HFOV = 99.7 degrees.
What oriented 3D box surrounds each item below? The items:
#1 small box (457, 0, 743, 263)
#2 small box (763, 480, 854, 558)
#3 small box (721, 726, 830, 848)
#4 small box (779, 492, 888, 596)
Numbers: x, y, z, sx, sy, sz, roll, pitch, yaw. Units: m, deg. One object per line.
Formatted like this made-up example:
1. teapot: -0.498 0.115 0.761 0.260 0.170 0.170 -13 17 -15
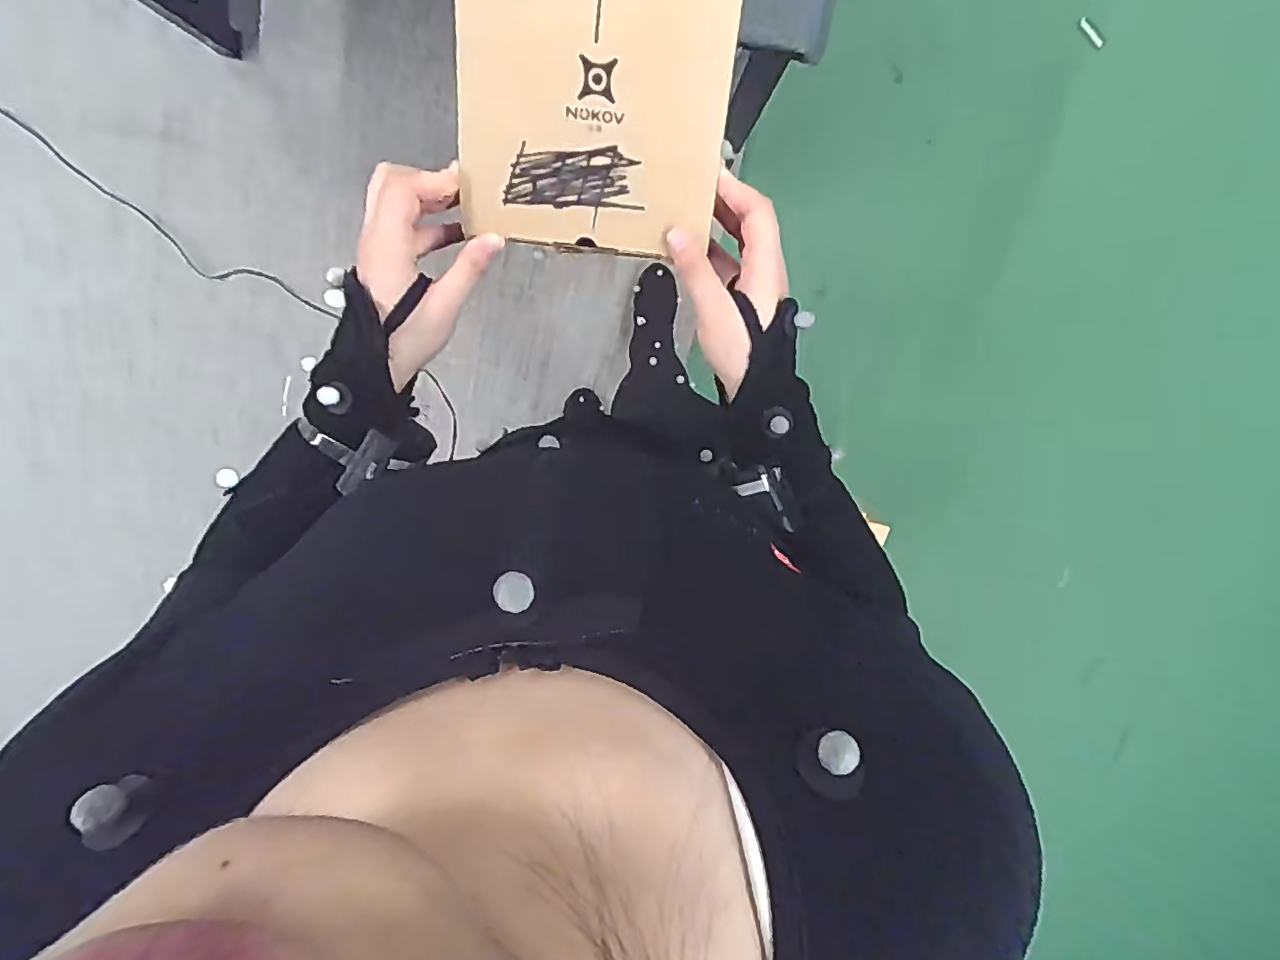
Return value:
1. small box: -0.030 -0.265 0.401 0.168 0.176 0.179 5 112 -4
2. small box: 0.443 0.113 1.443 0.168 0.176 0.179 14 105 -3
3. small box: 0.307 0.710 1.267 0.179 0.176 0.168 18 106 -6
4. small box: 0.447 0.143 1.283 0.168 0.176 0.179 16 105 -4
